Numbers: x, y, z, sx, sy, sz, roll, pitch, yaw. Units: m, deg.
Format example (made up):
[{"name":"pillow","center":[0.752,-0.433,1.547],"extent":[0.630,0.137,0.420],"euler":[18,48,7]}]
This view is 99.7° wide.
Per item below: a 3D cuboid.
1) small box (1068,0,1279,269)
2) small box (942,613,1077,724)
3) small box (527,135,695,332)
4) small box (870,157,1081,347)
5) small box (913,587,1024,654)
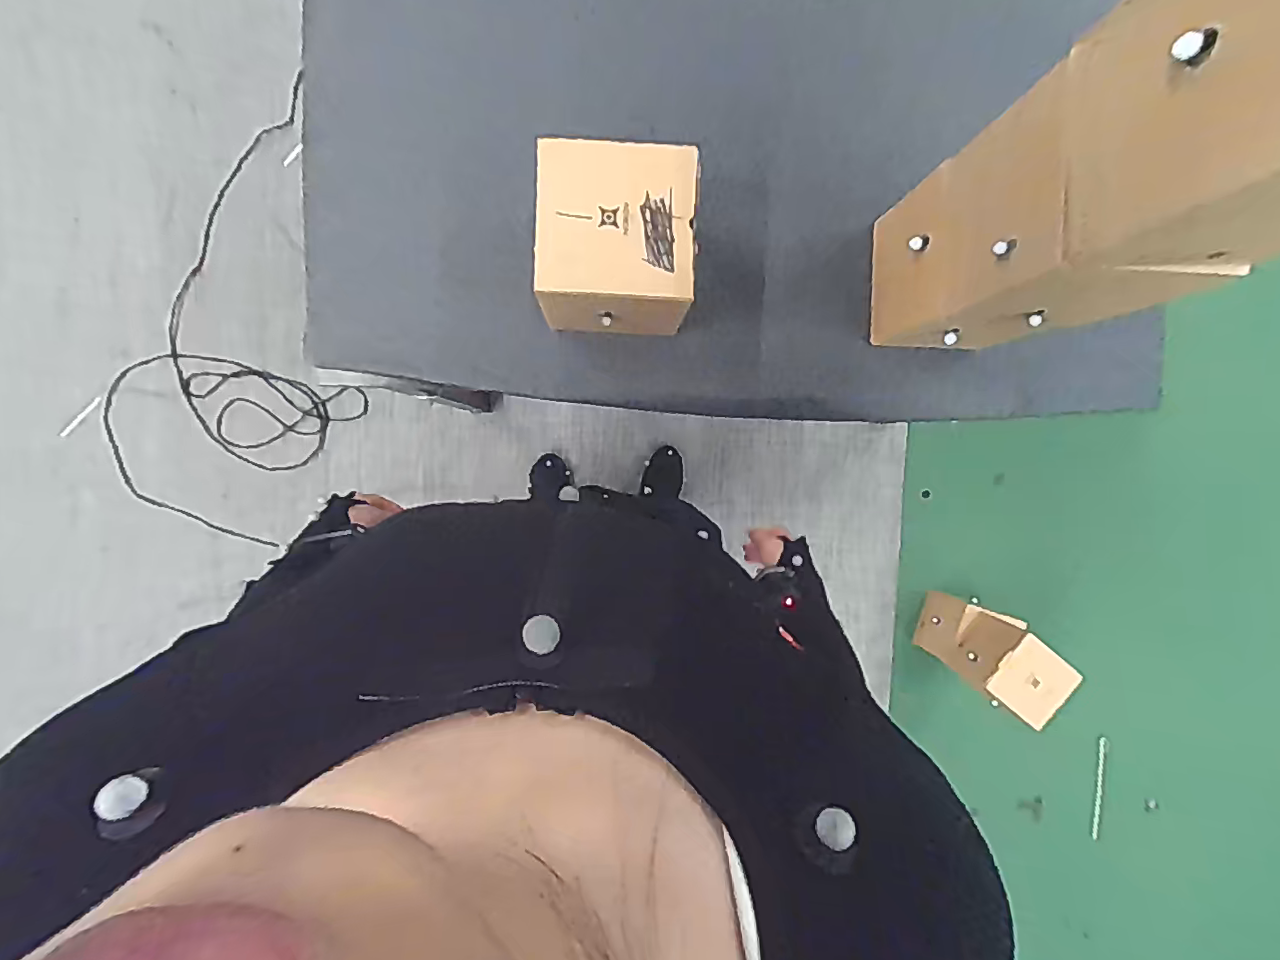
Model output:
[{"name":"small box","center":[0.425,-0.257,0.355],"extent":[0.168,0.176,0.179],"euler":[-2,92,-2]},{"name":"small box","center":[0.890,0.447,1.321],"extent":[0.179,0.176,0.168],"euler":[39,92,-5]},{"name":"small box","center":[-0.035,-0.282,0.657],"extent":[0.179,0.176,0.168],"euler":[2,92,-3]},{"name":"small box","center":[0.409,-0.271,0.683],"extent":[0.168,0.176,0.179],"euler":[1,92,-3]},{"name":"small box","center":[0.888,0.405,1.482],"extent":[0.179,0.176,0.168],"euler":[18,93,-4]}]
